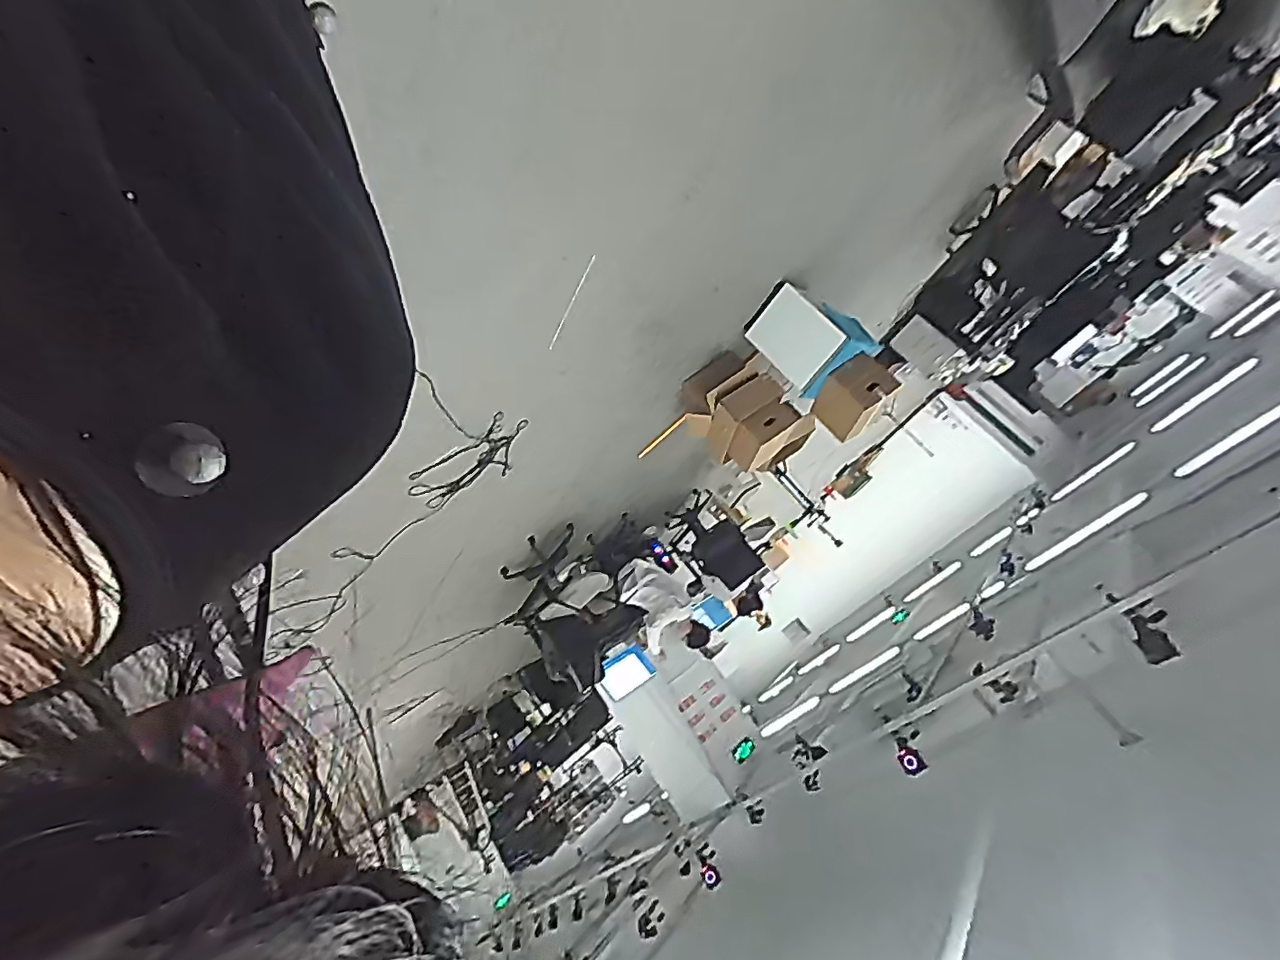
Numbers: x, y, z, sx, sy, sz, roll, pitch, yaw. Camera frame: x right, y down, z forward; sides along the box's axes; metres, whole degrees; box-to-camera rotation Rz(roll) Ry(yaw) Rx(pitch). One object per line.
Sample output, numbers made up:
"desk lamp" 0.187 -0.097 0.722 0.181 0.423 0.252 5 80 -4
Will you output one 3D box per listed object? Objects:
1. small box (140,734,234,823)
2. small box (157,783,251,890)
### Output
"small box" -1.330 0.888 1.594 0.179 0.176 0.168 -17 150 -46
"small box" -1.236 1.005 1.534 0.179 0.176 0.168 -19 152 -44
